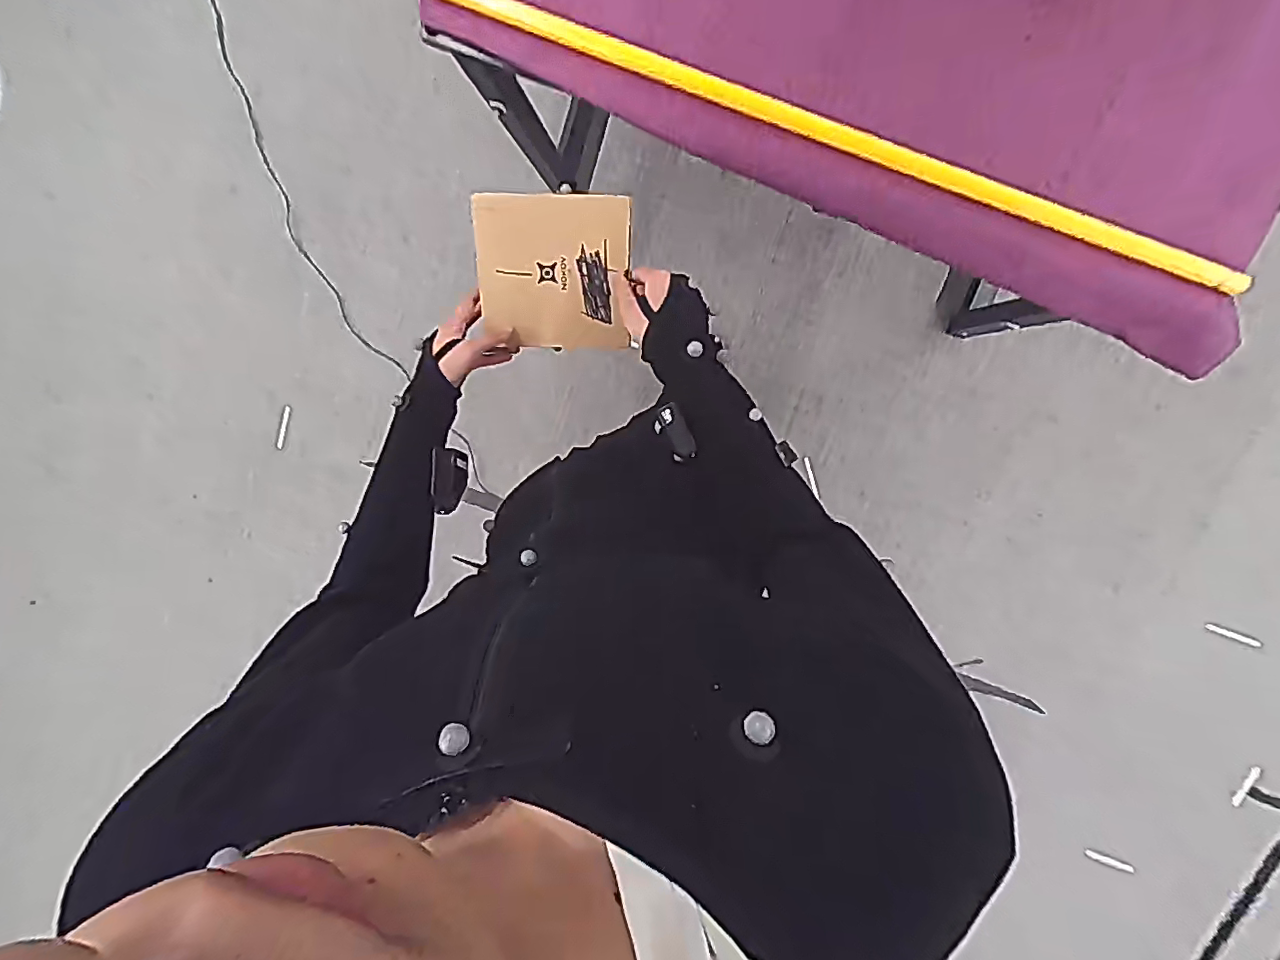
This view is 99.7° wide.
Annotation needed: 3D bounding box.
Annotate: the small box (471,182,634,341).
[{"bbox_3d":[-0.099,-0.273,0.682,0.179,0.176,0.168,0,112,-2],"label":"small box"}]
